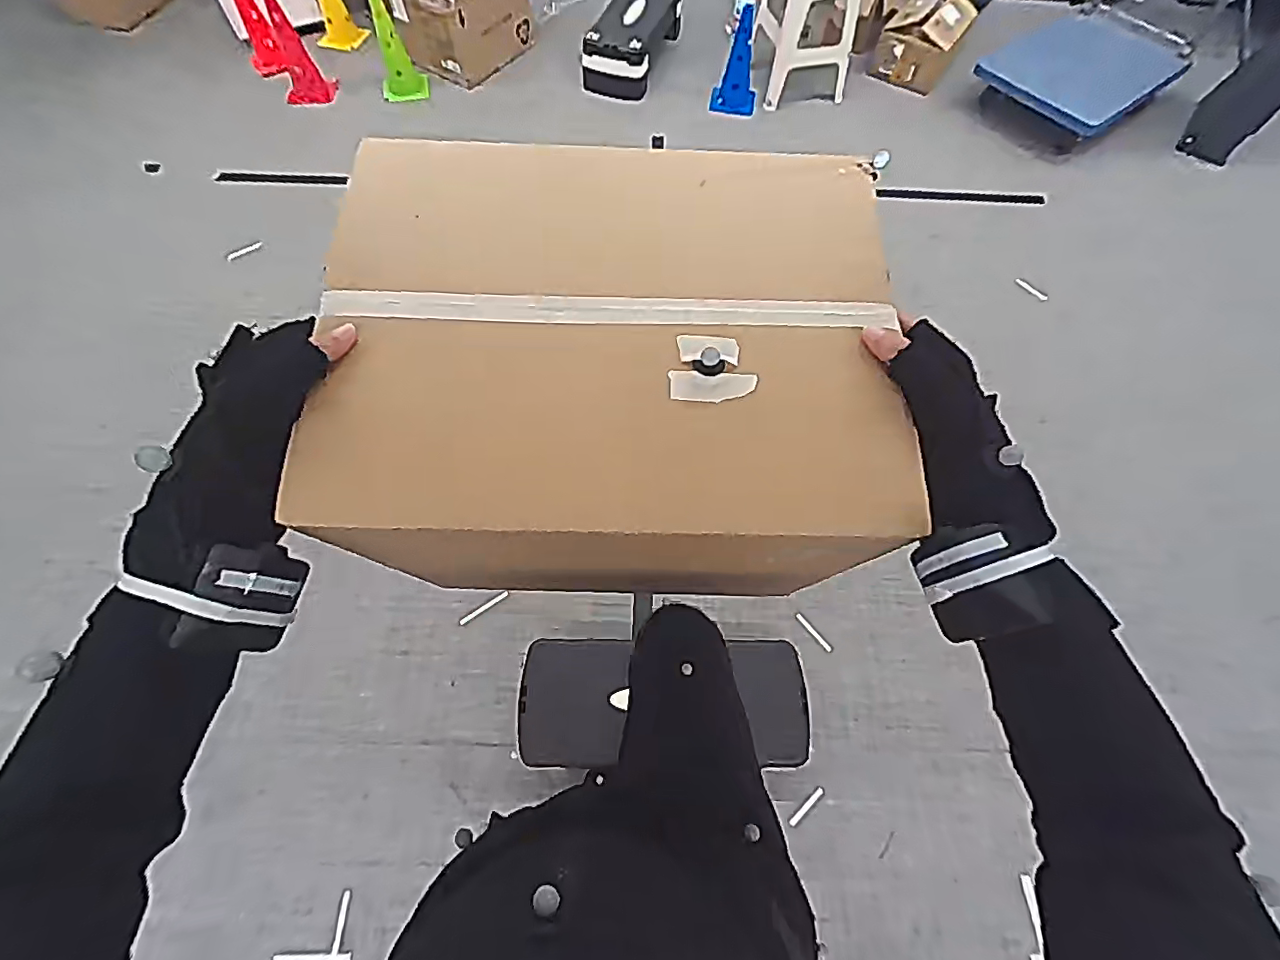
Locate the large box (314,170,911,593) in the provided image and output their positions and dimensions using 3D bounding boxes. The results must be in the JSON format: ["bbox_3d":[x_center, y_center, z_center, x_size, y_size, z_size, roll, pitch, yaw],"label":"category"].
[{"bbox_3d":[-0.021,-0.063,0.544,0.408,0.320,0.320,1,71,-1],"label":"large box"}]
